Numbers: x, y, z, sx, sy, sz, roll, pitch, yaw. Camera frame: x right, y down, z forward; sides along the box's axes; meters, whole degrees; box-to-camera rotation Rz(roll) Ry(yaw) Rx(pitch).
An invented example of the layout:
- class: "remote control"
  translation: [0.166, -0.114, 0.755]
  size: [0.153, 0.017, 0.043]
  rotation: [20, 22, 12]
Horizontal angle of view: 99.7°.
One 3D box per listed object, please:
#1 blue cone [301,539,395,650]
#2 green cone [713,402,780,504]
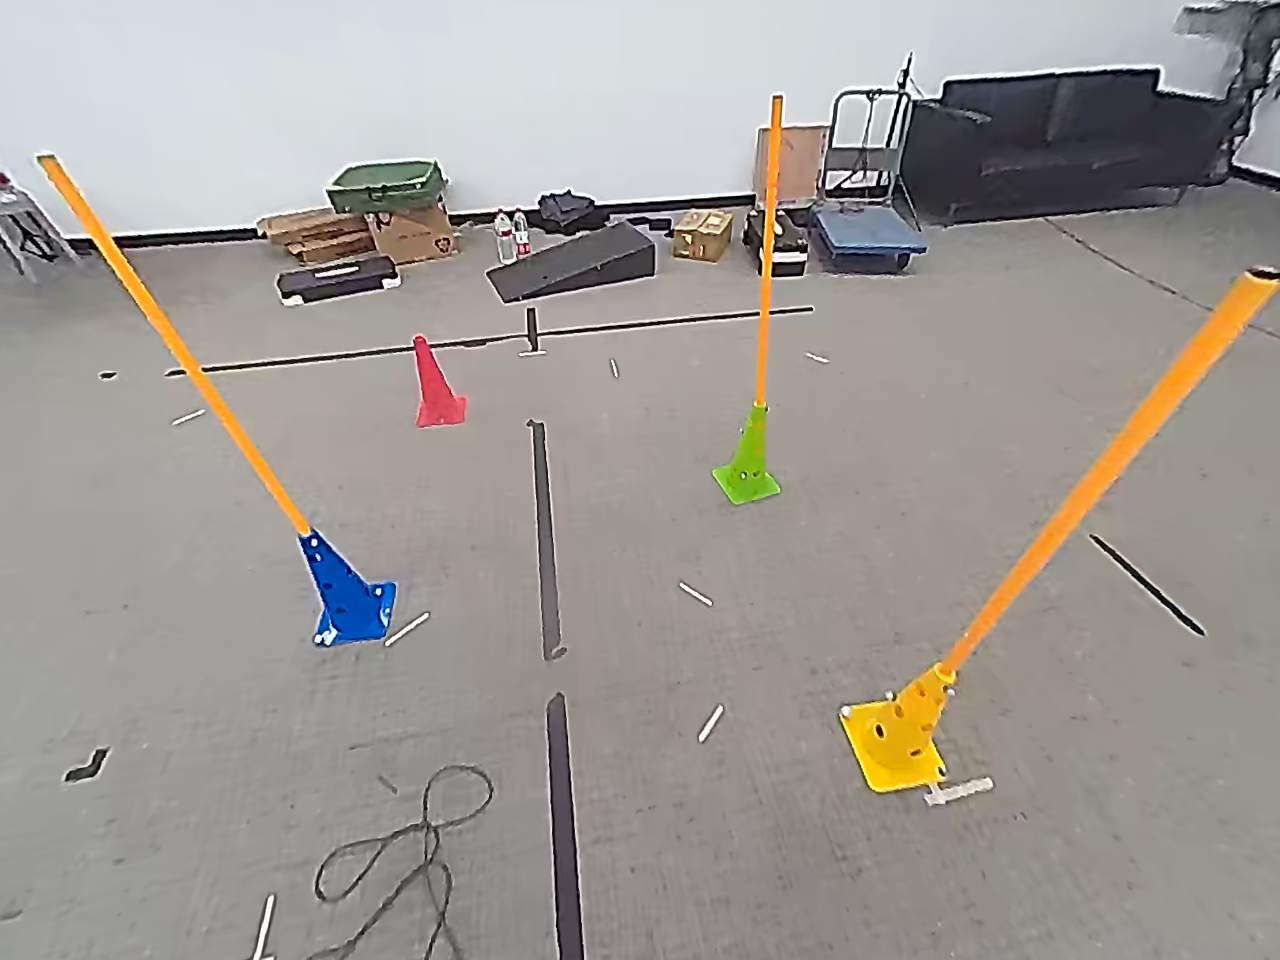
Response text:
- class: "blue cone"
  translation: [-0.839, 0.290, 1.498]
  size: [0.193, 0.380, 0.192]
  rotation: [-6, 43, -5]
- class: "green cone"
  translation: [0.396, -0.119, 1.910]
  size: [0.200, 0.368, 0.202]
  rotation: [-15, 46, -15]
